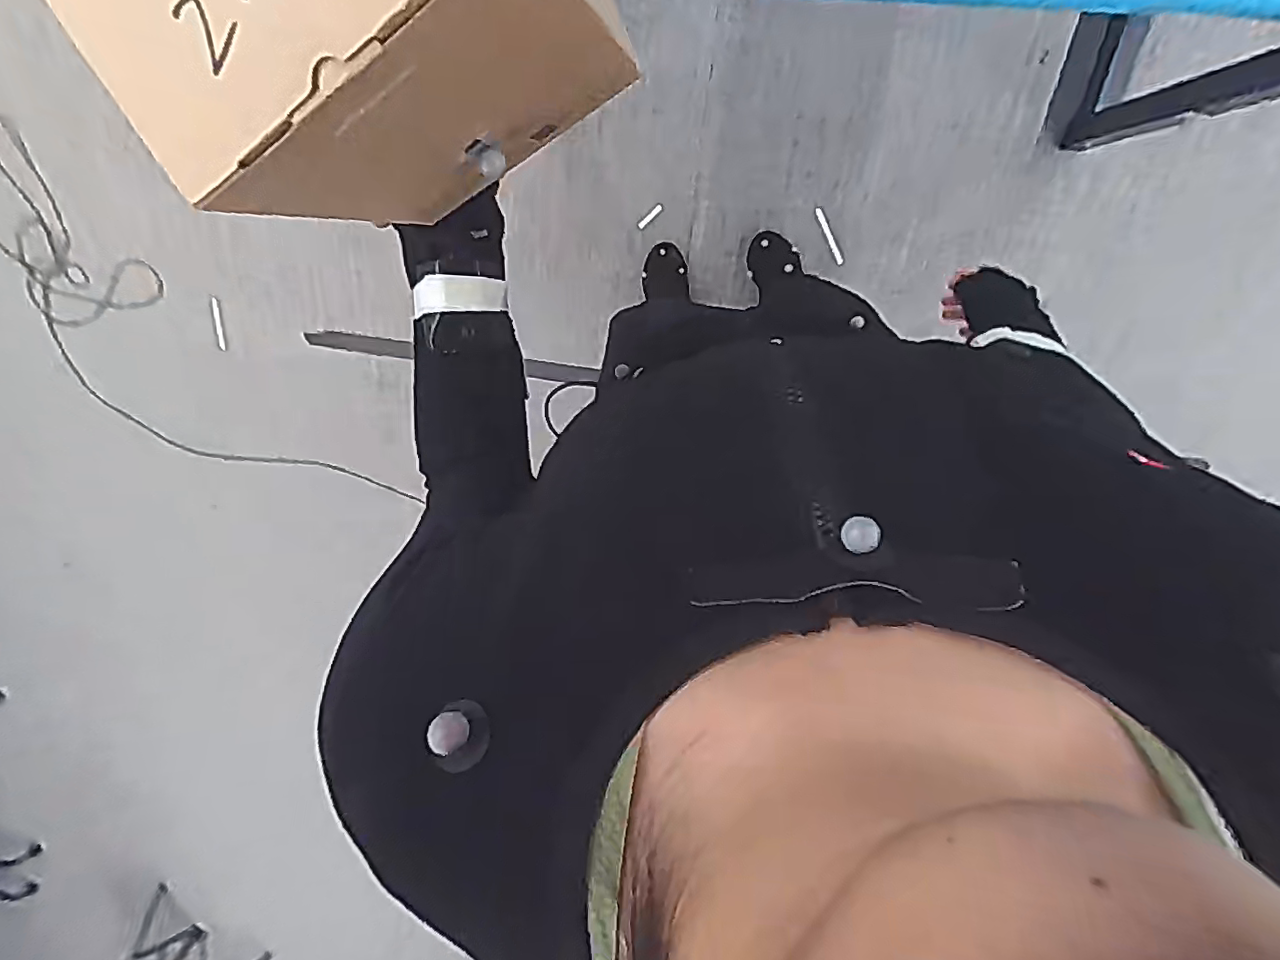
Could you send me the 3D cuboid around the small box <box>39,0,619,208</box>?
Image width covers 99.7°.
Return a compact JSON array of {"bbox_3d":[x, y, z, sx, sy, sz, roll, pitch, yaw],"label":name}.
[{"bbox_3d":[-0.129,-0.239,0.235,0.168,0.176,0.179,-17,110,21],"label":"small box"}]
